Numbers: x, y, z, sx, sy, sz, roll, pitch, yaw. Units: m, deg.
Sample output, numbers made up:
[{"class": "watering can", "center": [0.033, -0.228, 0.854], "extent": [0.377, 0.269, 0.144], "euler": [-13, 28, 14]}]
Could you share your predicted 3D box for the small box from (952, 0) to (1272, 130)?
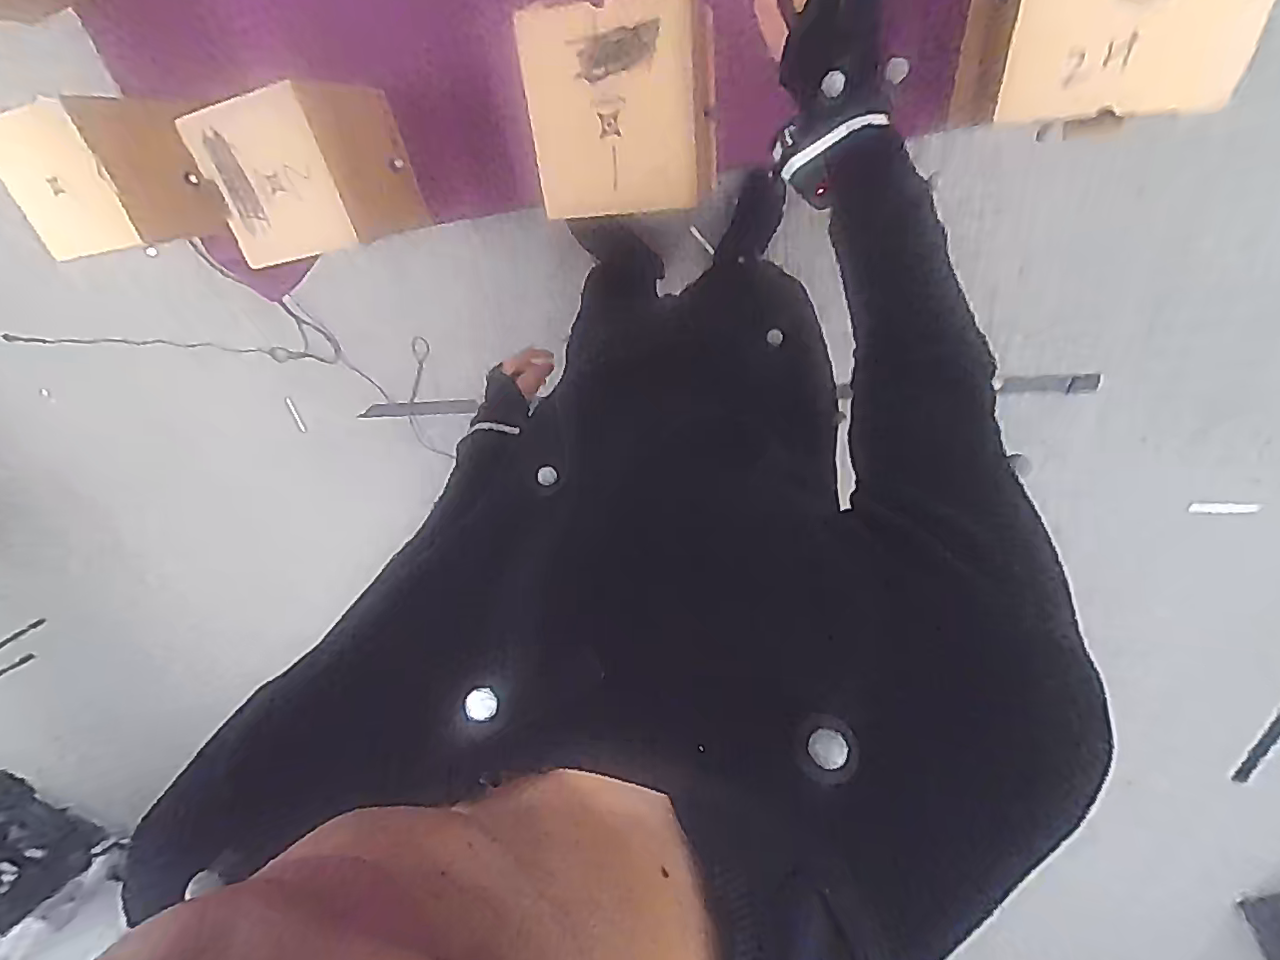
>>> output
[{"class": "small box", "center": [0.389, -0.408, 0.460], "extent": [0.168, 0.176, 0.179], "euler": [5, 123, 13]}]

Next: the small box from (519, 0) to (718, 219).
[{"class": "small box", "center": [-0.008, -0.392, 0.583], "extent": [0.168, 0.176, 0.179], "euler": [3, 123, 14]}]

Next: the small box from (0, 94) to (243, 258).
[{"class": "small box", "center": [-0.722, -0.421, 0.759], "extent": [0.179, 0.176, 0.168], "euler": [-2, 121, 15]}]
